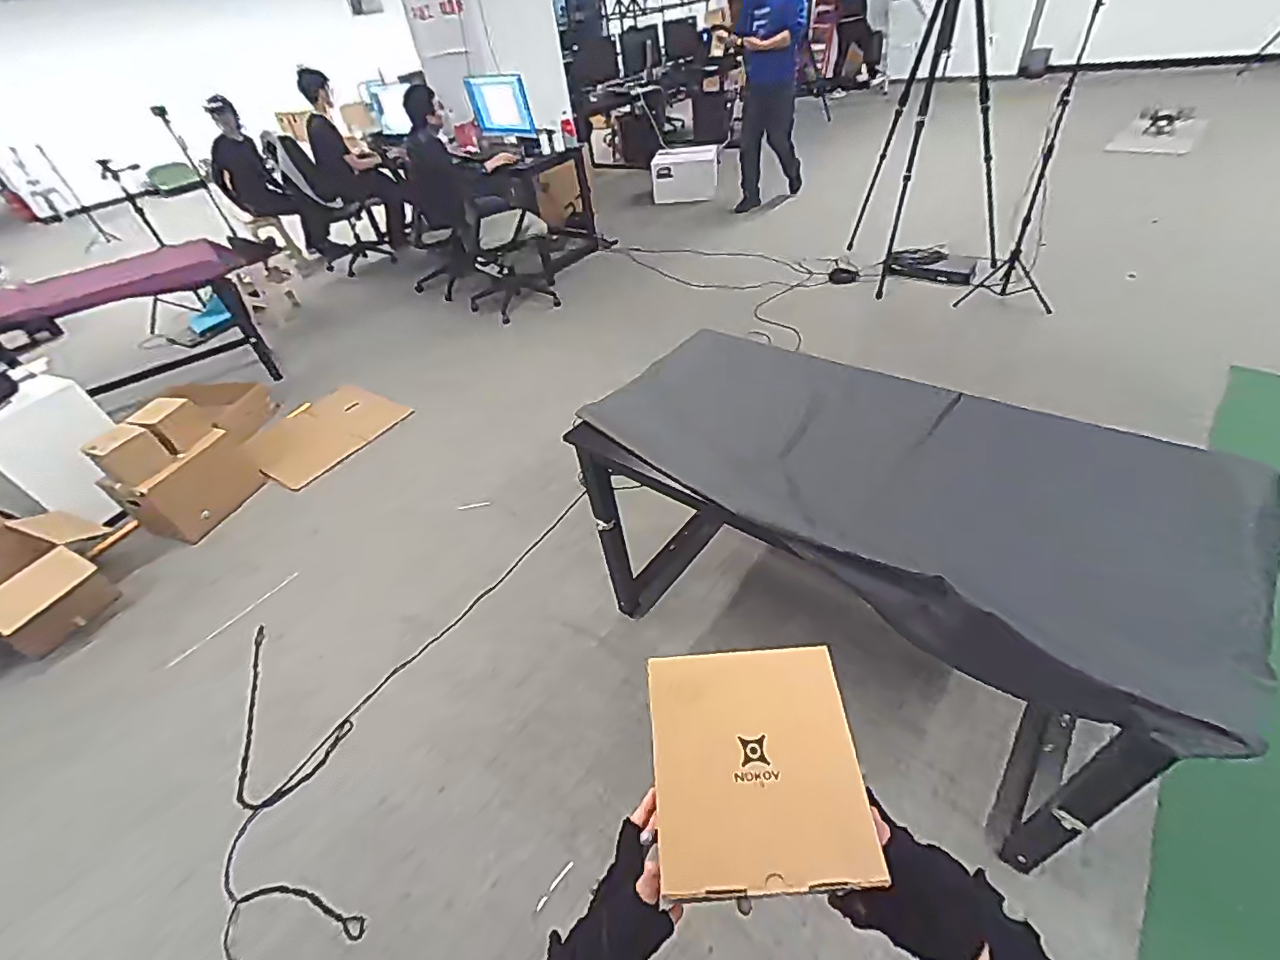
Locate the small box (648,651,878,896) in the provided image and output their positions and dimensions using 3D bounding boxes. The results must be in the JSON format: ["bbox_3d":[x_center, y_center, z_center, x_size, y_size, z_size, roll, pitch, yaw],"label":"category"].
[{"bbox_3d":[0.093,0.279,0.510,0.168,0.176,0.179,-3,53,0],"label":"small box"}]
